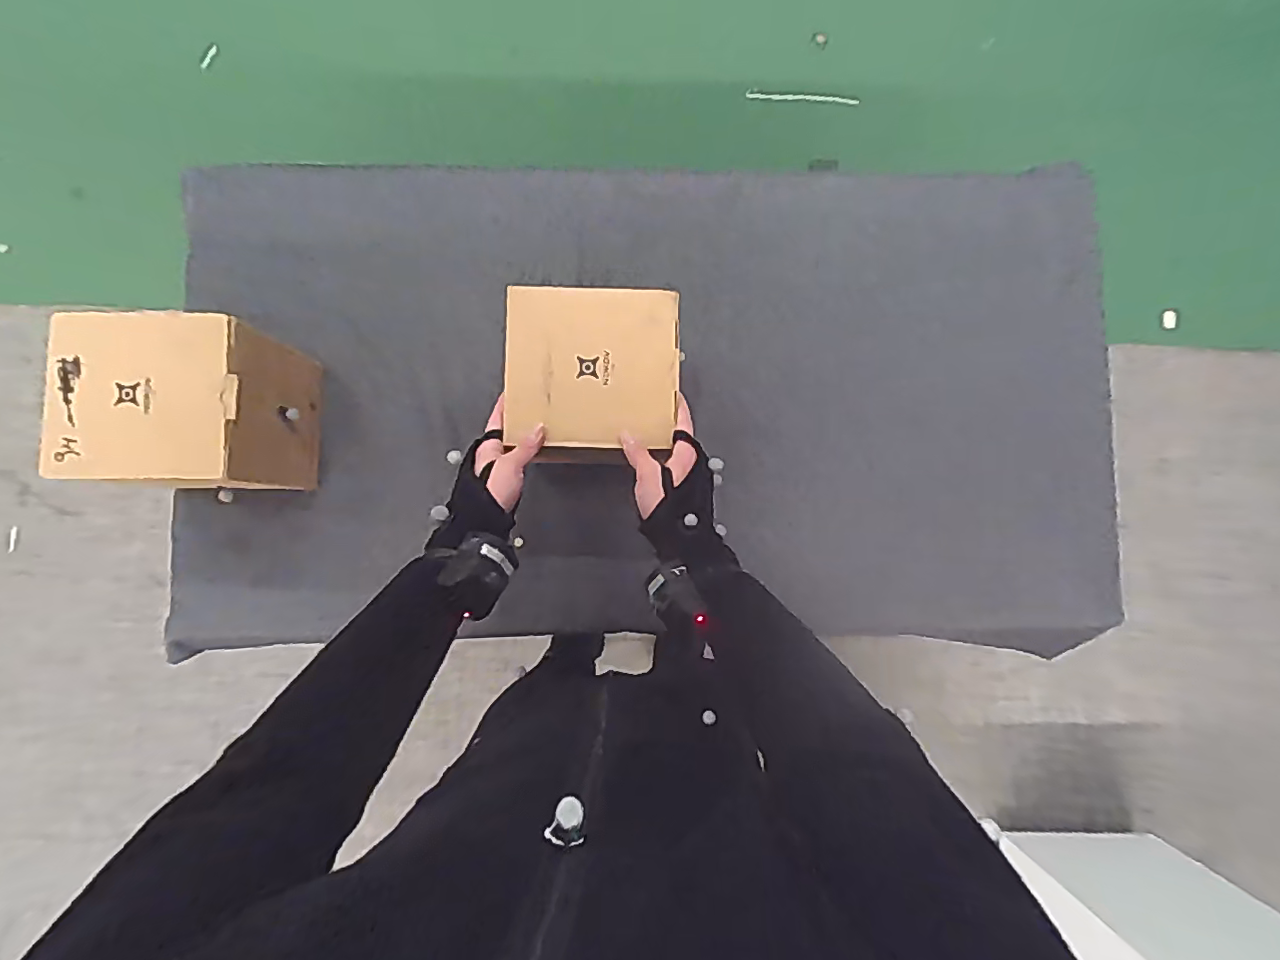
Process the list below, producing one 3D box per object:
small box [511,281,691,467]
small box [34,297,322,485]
[{"bbox_3d":[-0.040,-0.108,0.615,0.179,0.176,0.168,1,84,-1],"label":"small box"},{"bbox_3d":[-0.478,-0.083,0.591,0.179,0.176,0.168,1,85,-4],"label":"small box"}]
